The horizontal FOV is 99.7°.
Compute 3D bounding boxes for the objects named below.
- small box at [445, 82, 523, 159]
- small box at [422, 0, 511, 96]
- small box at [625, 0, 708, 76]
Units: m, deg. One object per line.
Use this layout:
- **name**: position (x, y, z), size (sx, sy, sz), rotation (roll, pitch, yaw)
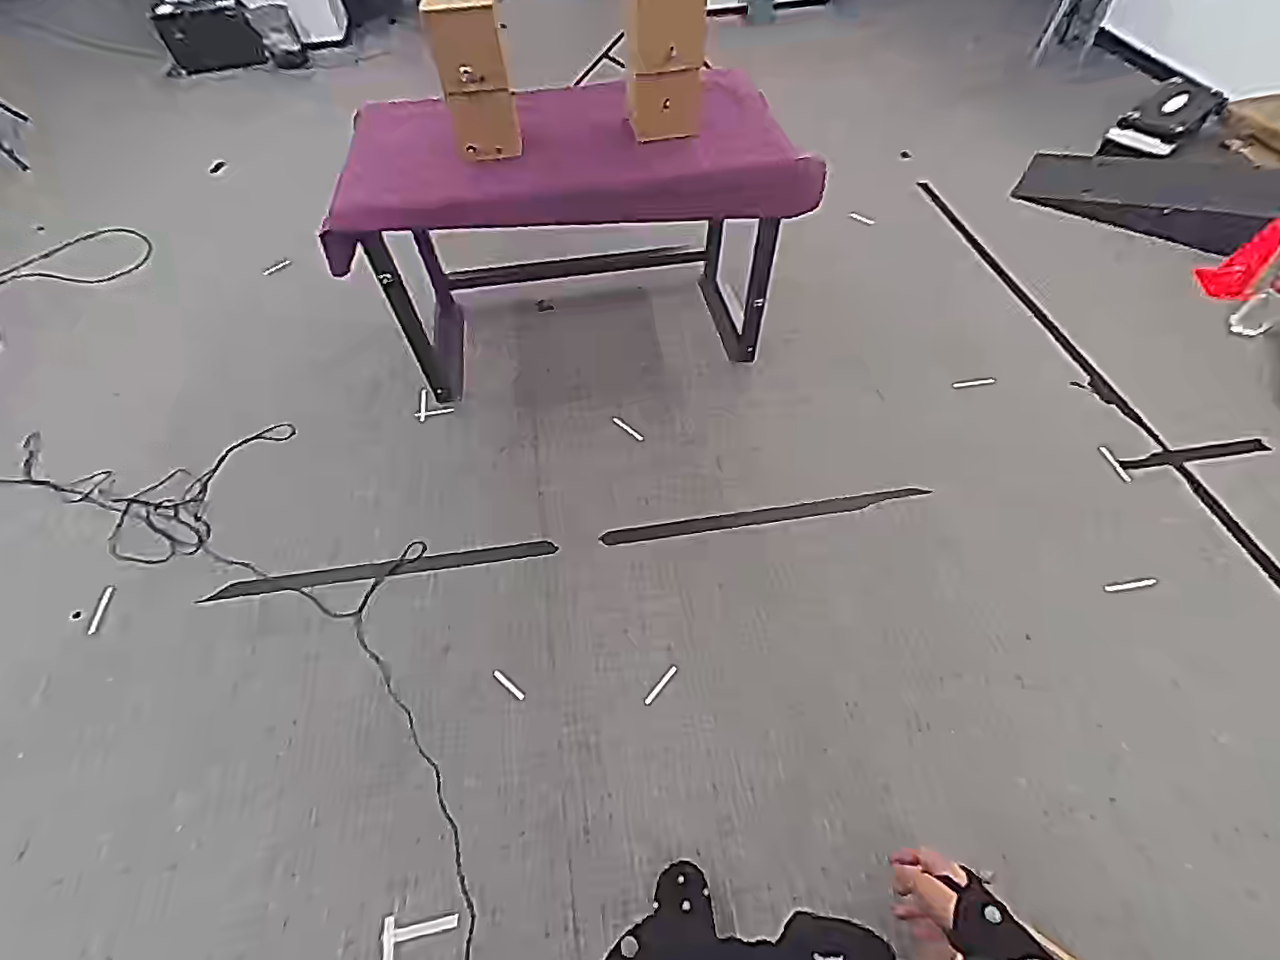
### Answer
- **small box**: position (-0.417, -0.991, 1.463), size (0.168, 0.176, 0.179), rotation (-8, 55, -4)
- **small box**: position (-0.416, -1.073, 1.322), size (0.168, 0.176, 0.179), rotation (-9, 57, -4)
- **small box**: position (0.060, -1.150, 1.360), size (0.179, 0.176, 0.168), rotation (-12, 56, -7)
